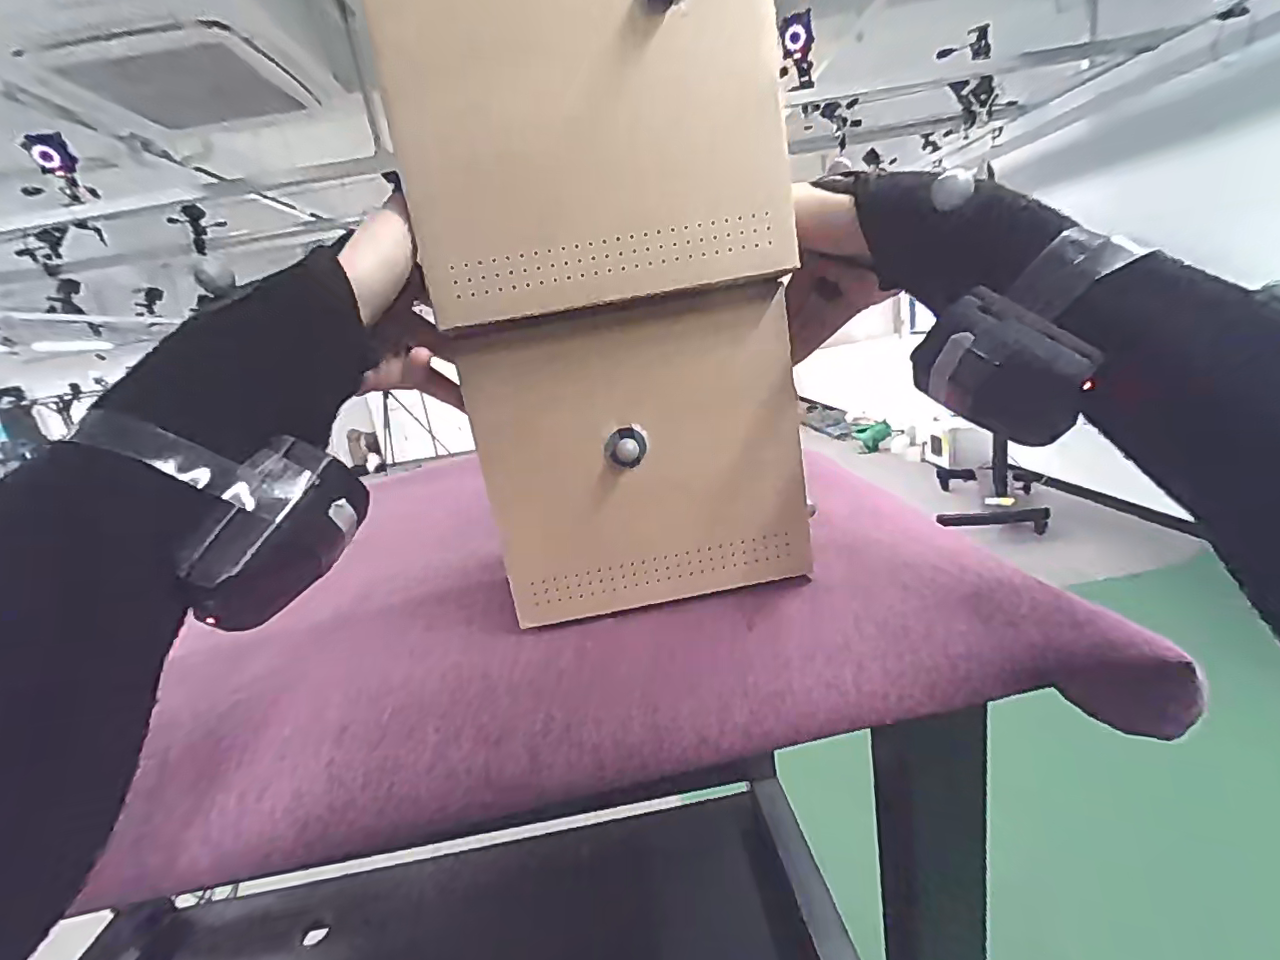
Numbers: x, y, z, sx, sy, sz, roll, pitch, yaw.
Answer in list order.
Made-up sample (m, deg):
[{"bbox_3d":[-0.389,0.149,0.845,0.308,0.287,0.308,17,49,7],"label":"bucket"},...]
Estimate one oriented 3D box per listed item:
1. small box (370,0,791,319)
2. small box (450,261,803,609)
[{"bbox_3d":[-0.024,-0.187,0.307,0.179,0.176,0.168,-11,13,-2],"label":"small box"},{"bbox_3d":[0.000,-0.034,0.364,0.179,0.176,0.168,-11,13,-1],"label":"small box"}]
